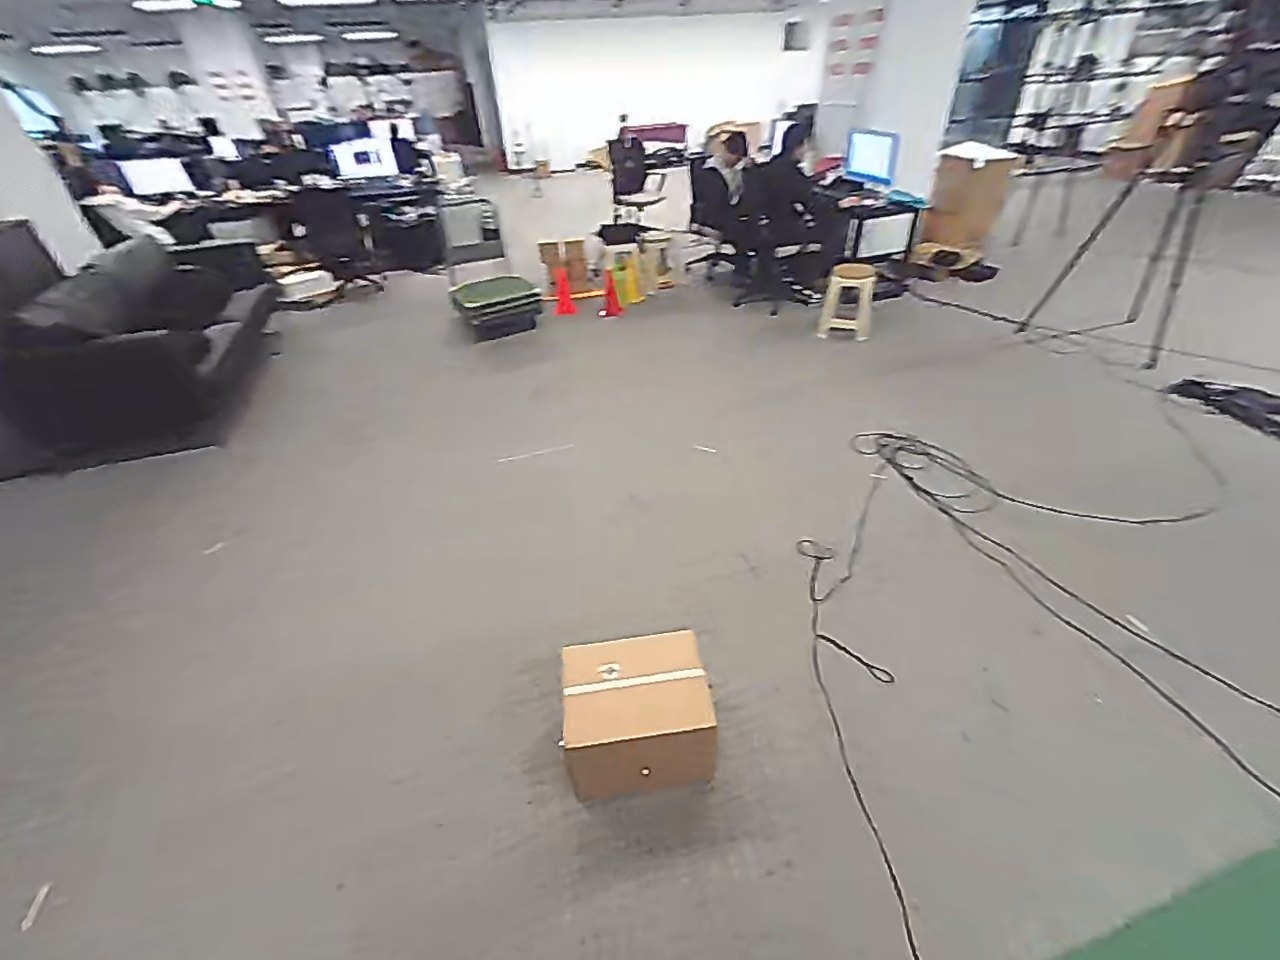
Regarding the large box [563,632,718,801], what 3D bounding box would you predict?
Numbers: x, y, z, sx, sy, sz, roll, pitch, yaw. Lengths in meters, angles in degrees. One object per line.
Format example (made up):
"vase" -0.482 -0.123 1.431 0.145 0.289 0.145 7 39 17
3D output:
"large box" -0.002 0.700 1.607 0.408 0.320 0.320 -8 36 -3
